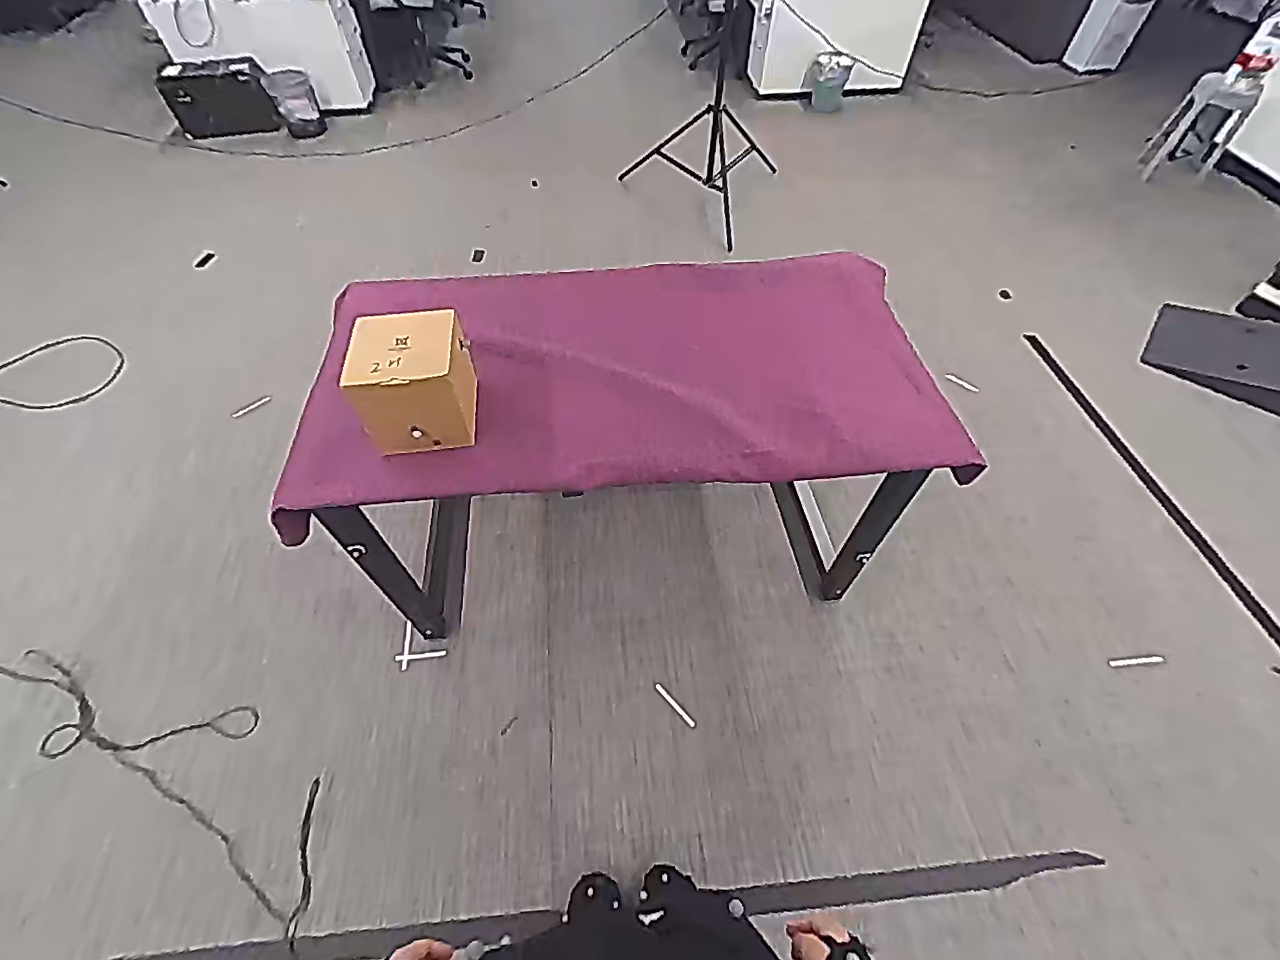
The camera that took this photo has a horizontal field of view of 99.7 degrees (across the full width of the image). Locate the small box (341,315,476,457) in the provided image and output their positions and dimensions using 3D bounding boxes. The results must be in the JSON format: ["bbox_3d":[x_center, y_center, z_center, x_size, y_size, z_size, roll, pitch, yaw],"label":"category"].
[{"bbox_3d":[-0.392,-0.163,0.949,0.168,0.176,0.179,-7,53,-5],"label":"small box"}]
